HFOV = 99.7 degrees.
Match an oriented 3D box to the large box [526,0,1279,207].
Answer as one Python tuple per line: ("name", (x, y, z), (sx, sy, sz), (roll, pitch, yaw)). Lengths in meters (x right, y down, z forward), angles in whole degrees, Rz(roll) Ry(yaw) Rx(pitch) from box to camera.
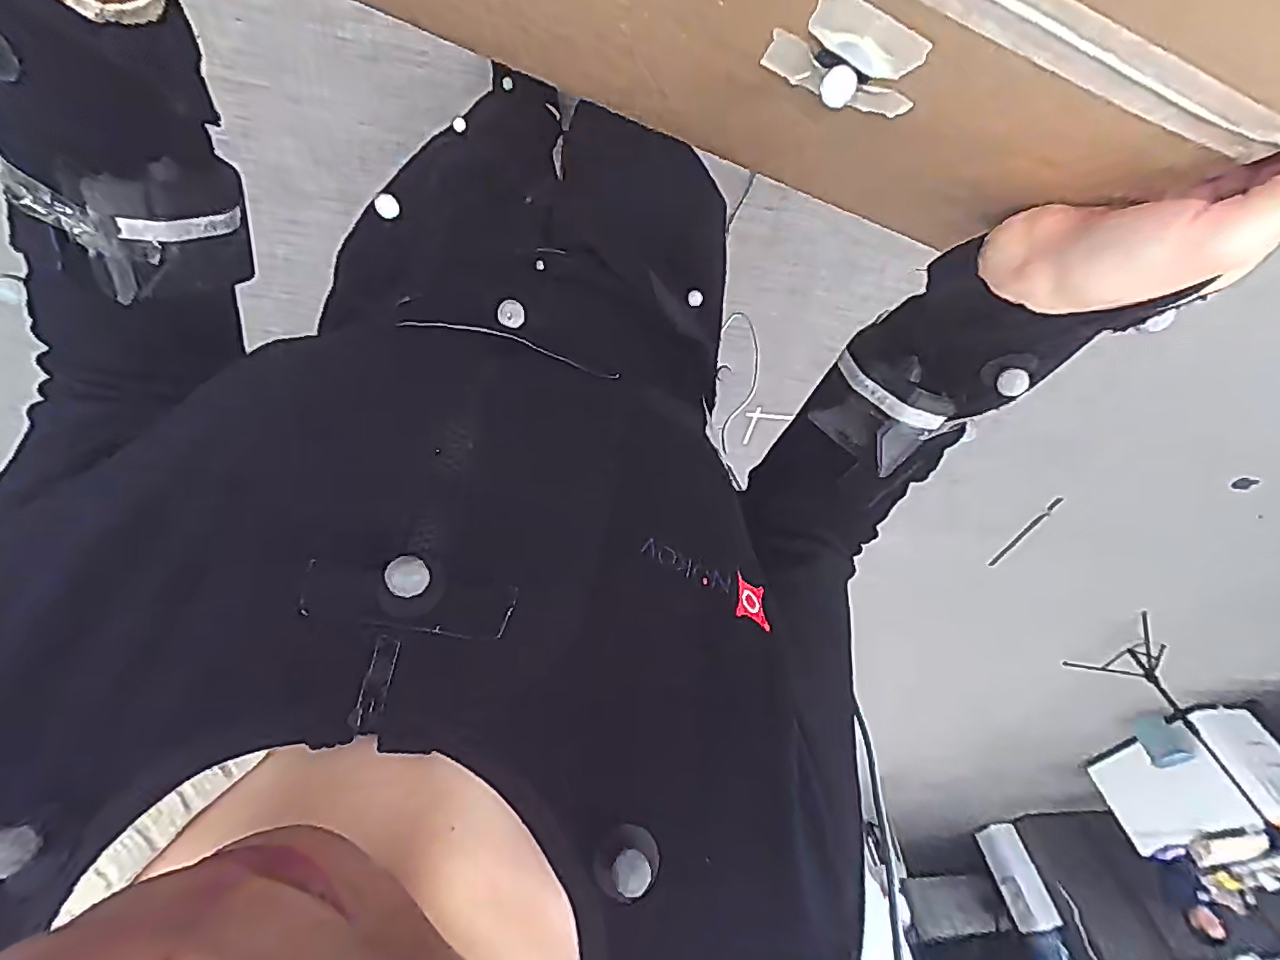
("large box", (0.080, -0.315, 0.090), (0.408, 0.320, 0.320), (15, 98, -11))
